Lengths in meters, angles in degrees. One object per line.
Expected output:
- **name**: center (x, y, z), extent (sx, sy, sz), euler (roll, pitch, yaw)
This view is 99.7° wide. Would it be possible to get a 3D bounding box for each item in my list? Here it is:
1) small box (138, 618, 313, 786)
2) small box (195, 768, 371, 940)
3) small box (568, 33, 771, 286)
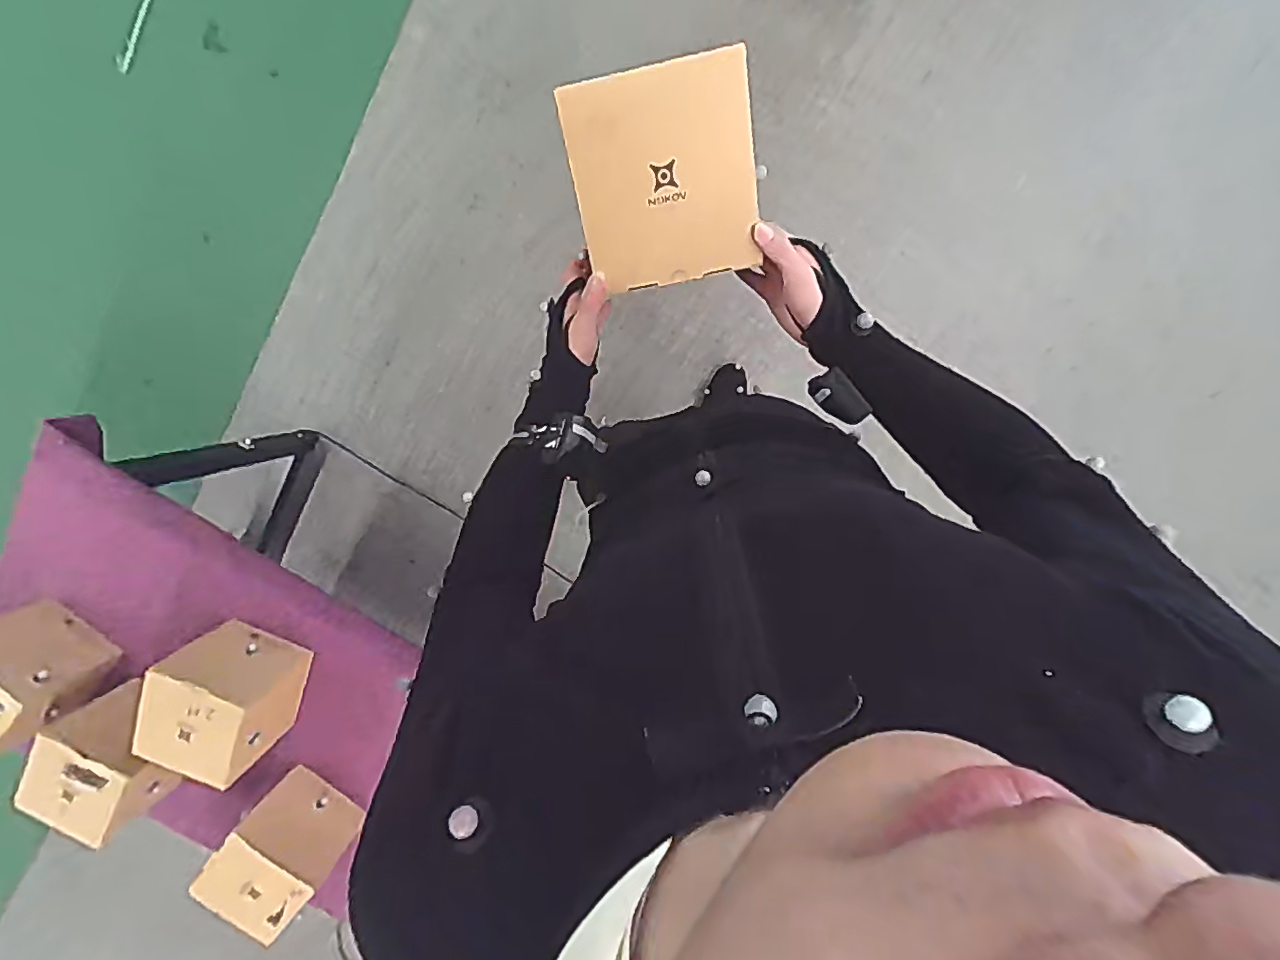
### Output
- **small box**: center (-0.712, 0.378, 0.946), extent (0.168, 0.176, 0.179), euler (23, 104, -1)
- **small box**: center (-0.652, 0.679, 1.006), extent (0.179, 0.176, 0.168), euler (40, 102, -4)
- **small box**: center (0.031, -0.314, 0.556), extent (0.168, 0.176, 0.179), euler (-10, 118, 5)
